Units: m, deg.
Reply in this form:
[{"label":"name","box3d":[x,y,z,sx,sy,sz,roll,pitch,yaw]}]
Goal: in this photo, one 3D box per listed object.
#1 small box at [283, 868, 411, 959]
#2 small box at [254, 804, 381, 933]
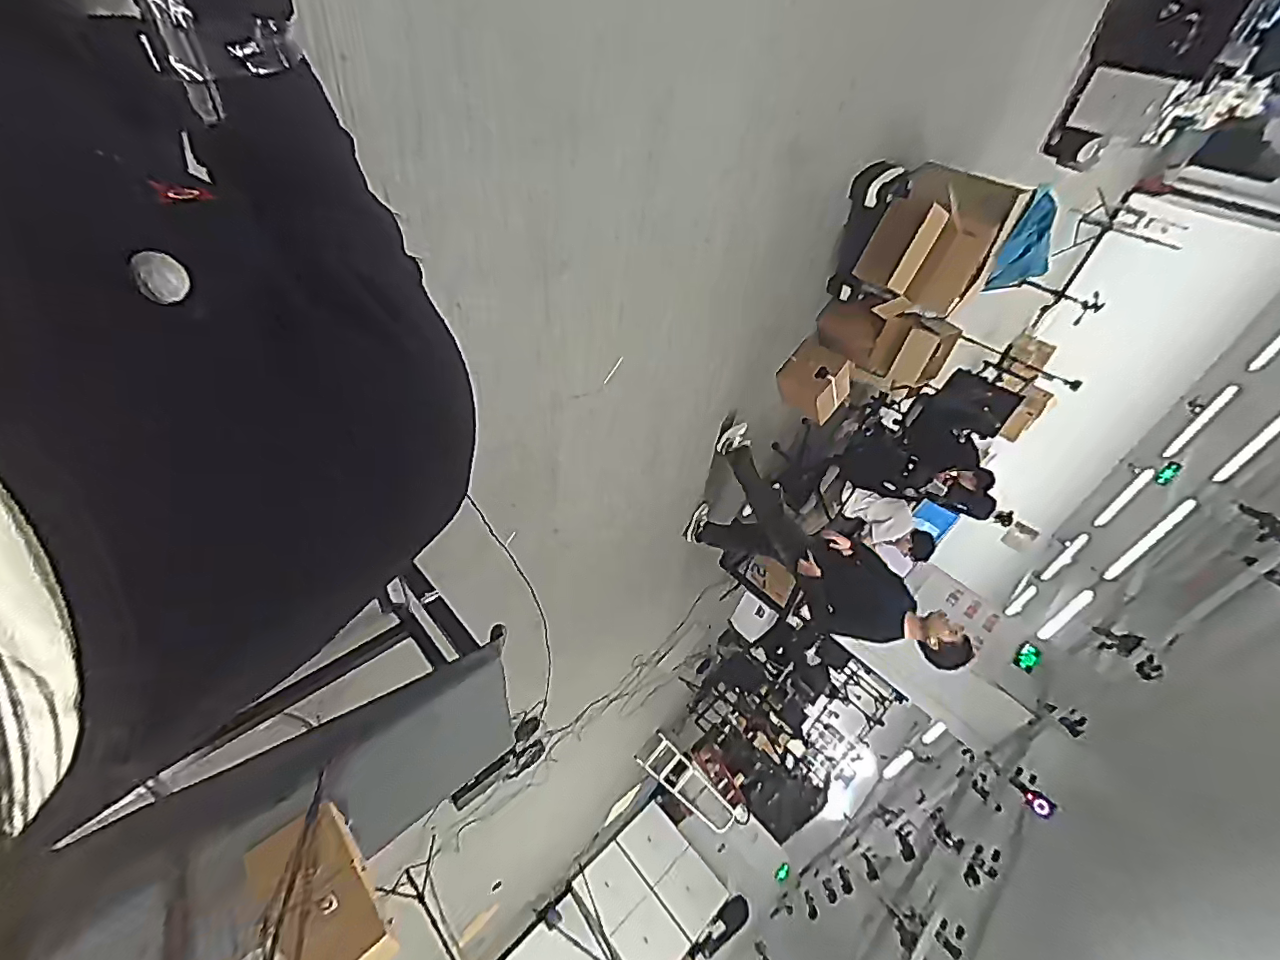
[{"label":"small box","box3d":[-0.613,0.968,1.141,0.168,0.176,0.179,-31,144,-35]},{"label":"small box","box3d":[-0.723,0.878,1.218,0.179,0.176,0.168,-30,144,-33]}]
